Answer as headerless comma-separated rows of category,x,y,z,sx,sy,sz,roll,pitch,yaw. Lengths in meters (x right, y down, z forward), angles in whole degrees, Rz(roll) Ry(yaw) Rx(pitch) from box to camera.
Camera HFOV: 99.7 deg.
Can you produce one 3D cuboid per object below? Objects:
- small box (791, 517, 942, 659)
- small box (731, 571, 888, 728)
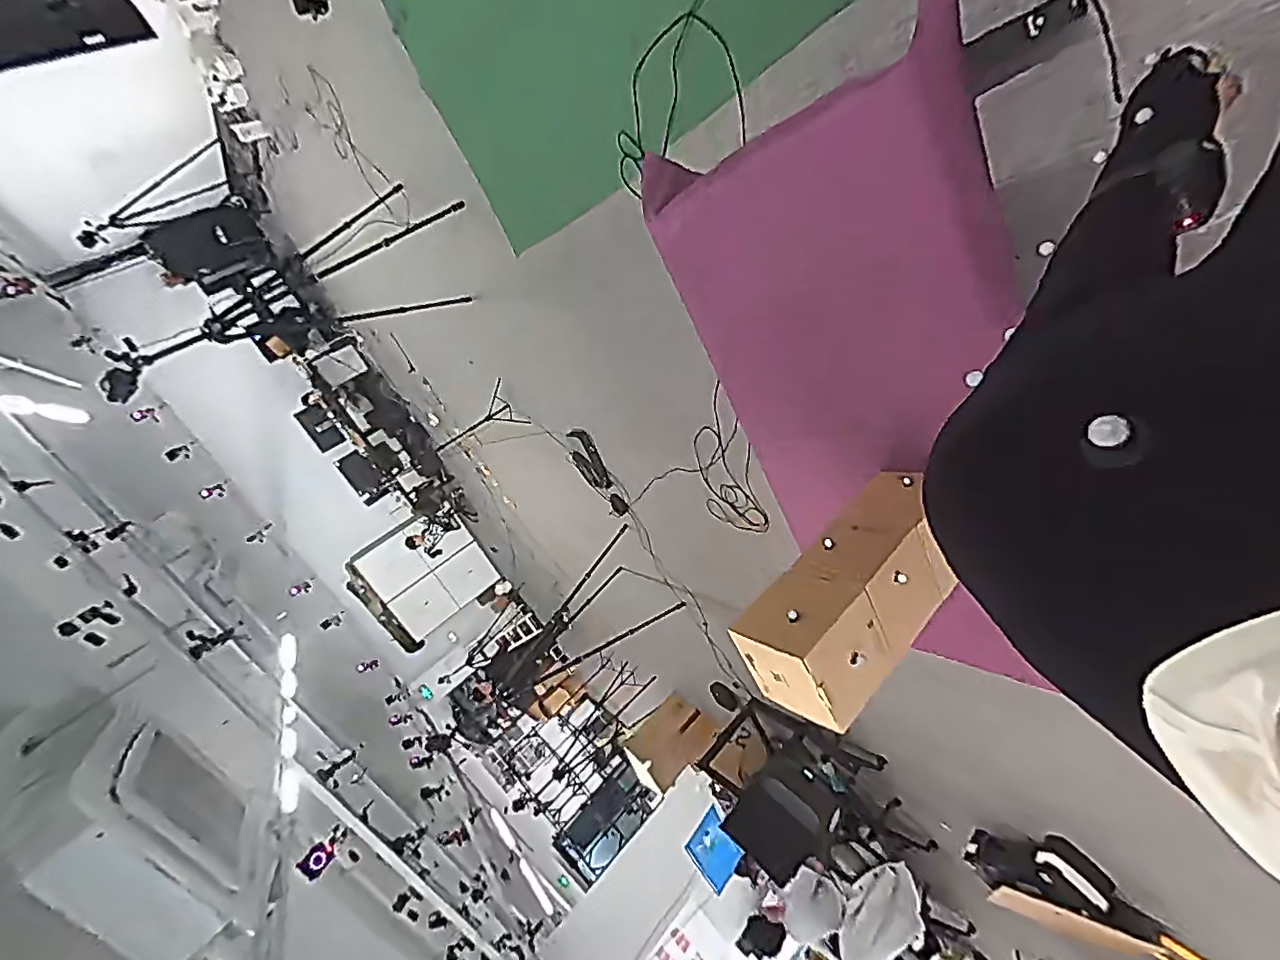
small box,0.417,0.186,0.991,0.168,0.176,0.179,4,127,58
small box,0.297,0.277,0.927,0.179,0.176,0.168,2,125,58
